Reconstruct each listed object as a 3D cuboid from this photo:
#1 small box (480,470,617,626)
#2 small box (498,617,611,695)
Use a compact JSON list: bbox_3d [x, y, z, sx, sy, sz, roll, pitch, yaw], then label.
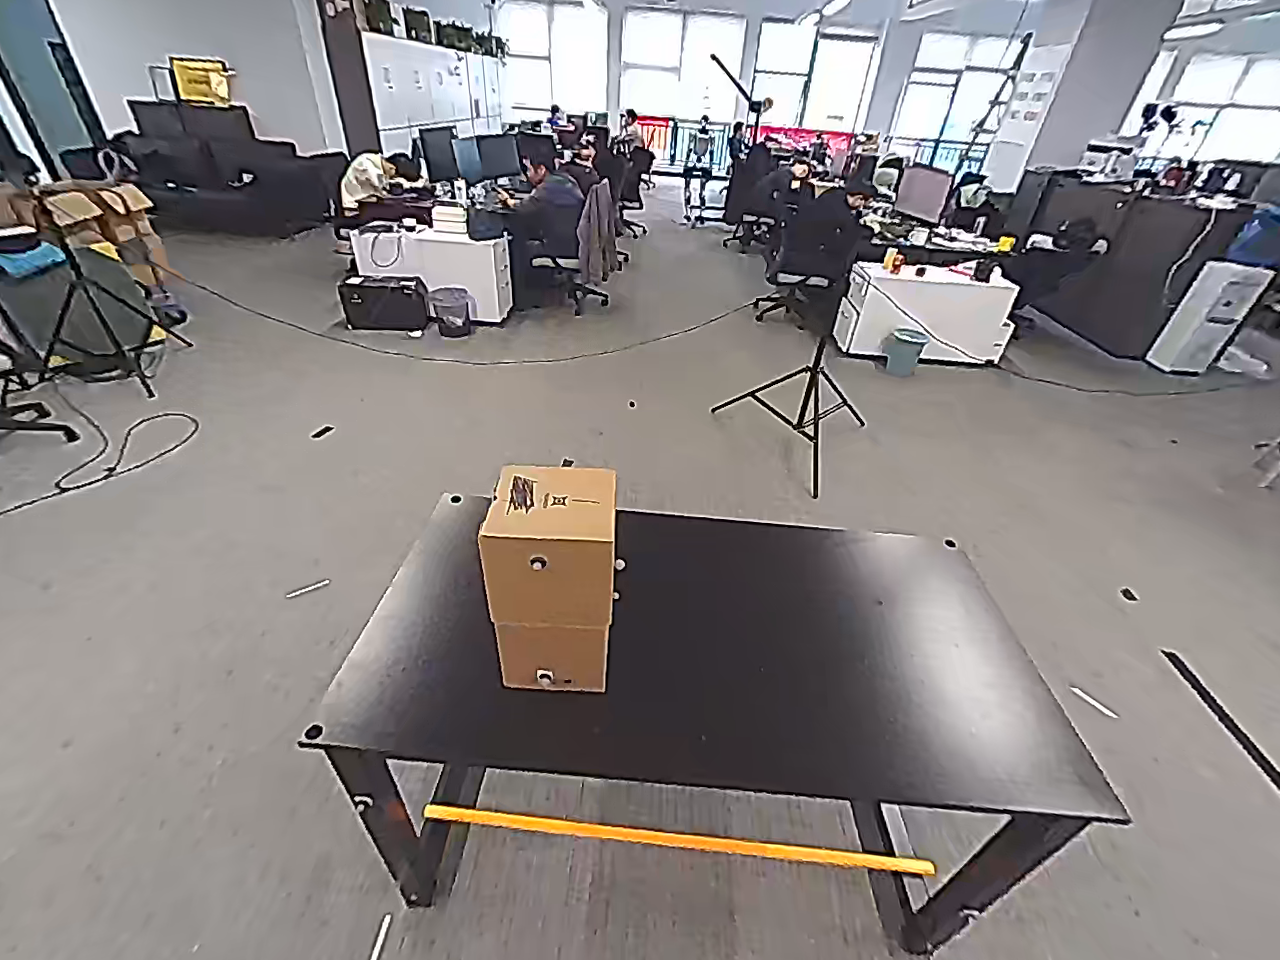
[{"bbox_3d":[-0.125,0.100,0.806,0.179,0.176,0.168,2,35,-3],"label":"small box"},{"bbox_3d":[-0.132,0.232,0.904,0.168,0.176,0.179,2,36,-2],"label":"small box"}]
